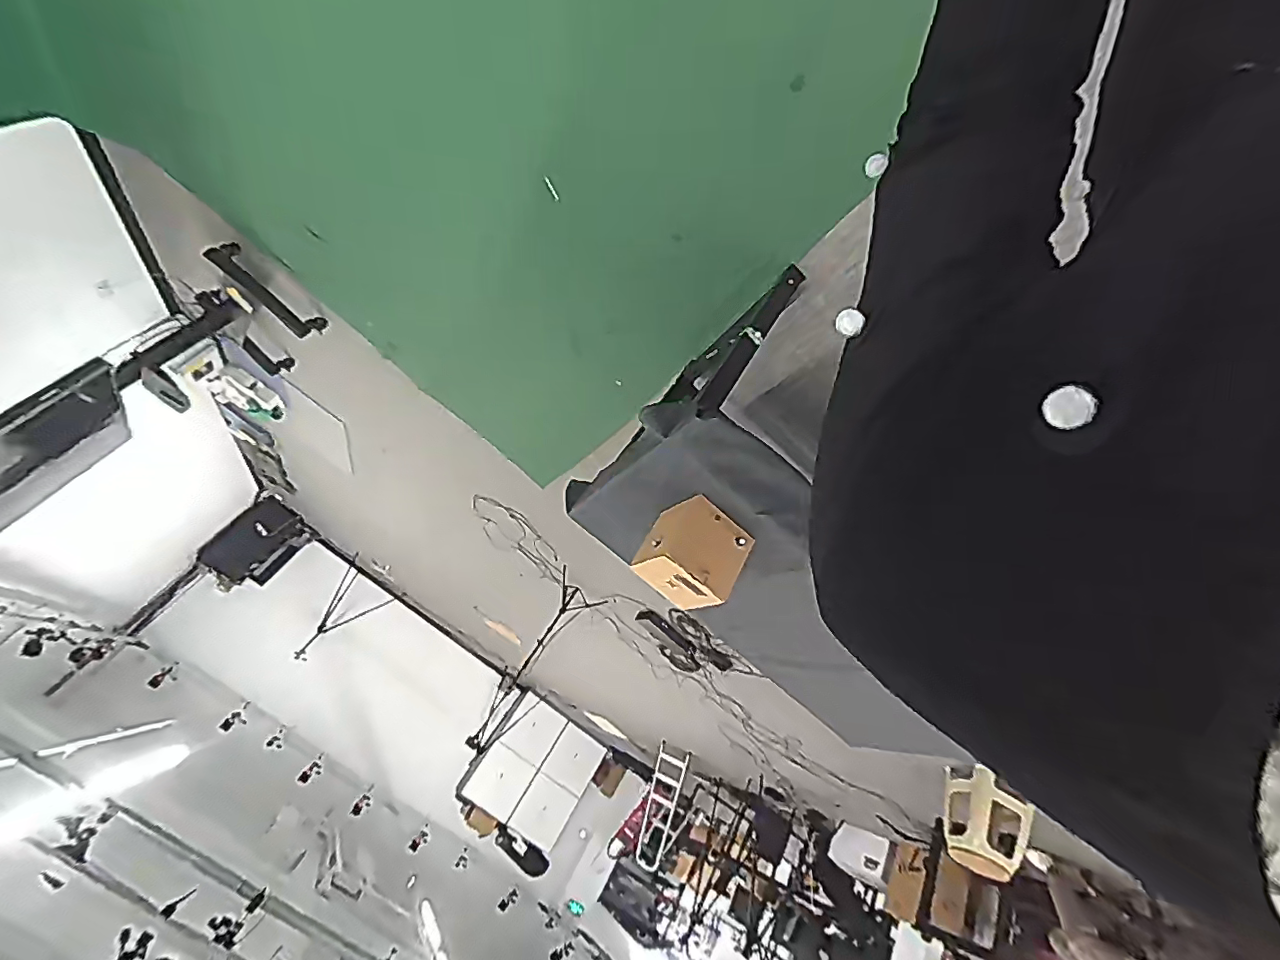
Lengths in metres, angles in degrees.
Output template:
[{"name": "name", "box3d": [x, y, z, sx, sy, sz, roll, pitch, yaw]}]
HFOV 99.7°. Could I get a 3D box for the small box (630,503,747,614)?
[{"name": "small box", "box3d": [0.113, 0.174, 1.192, 0.168, 0.176, 0.179, 41, 150, -10]}]
